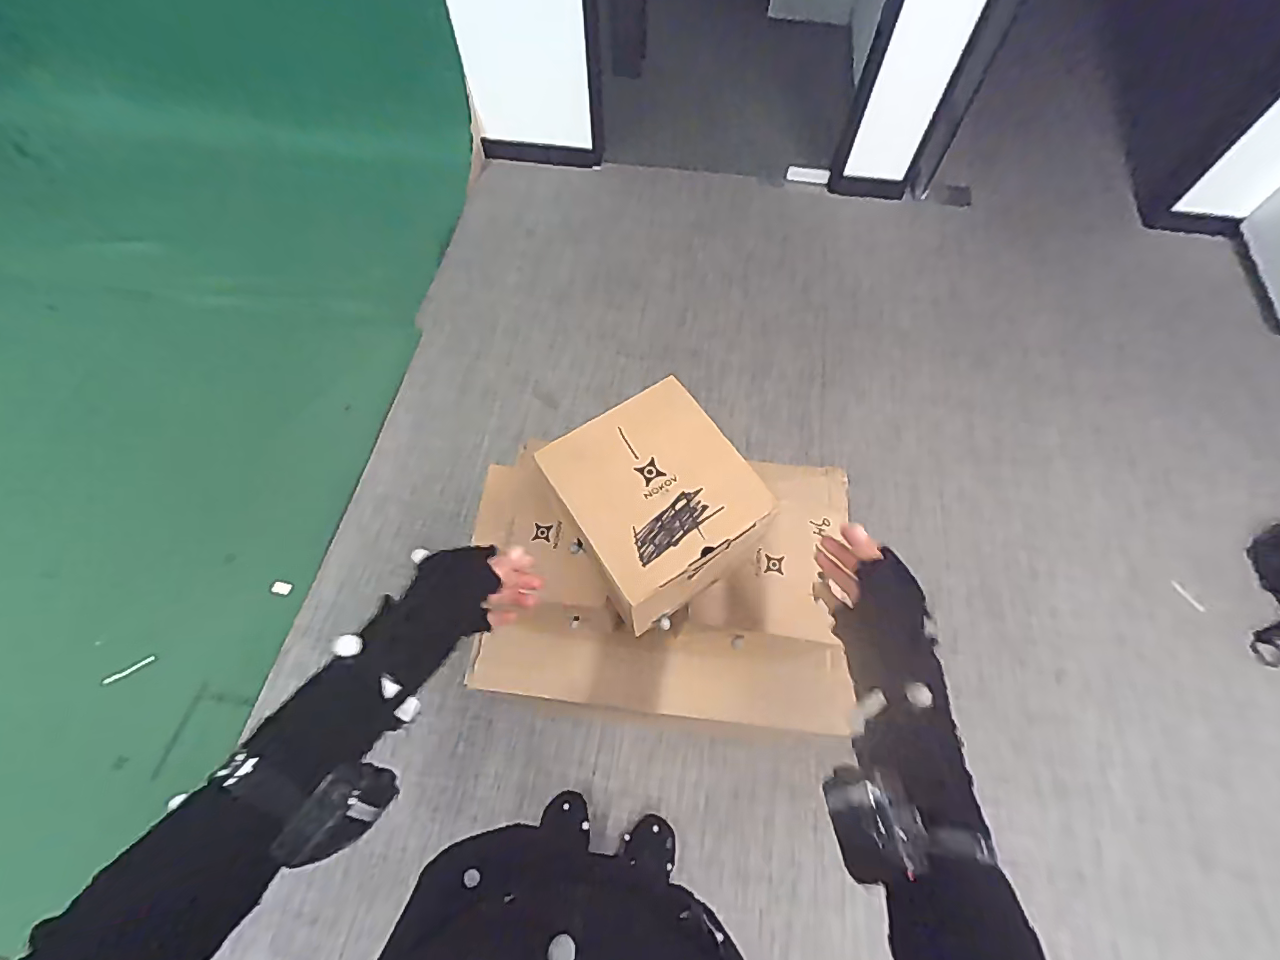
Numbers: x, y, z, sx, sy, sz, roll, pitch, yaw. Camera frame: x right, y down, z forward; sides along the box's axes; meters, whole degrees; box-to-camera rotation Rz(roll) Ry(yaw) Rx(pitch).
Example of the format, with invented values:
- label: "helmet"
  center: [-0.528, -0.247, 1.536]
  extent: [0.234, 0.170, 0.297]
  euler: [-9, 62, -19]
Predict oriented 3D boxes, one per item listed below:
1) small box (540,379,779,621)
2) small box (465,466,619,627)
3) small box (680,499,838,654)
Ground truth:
- label: "small box"
  center: [0.018, 0.033, 0.580]
  extent: [0.168, 0.176, 0.179]
  euler: [-31, 69, -13]
- label: "small box"
  center: [-0.110, 0.098, 0.730]
  extent: [0.179, 0.176, 0.168]
  euler: [5, 65, 3]
- label: "small box"
  center: [0.149, 0.129, 0.718]
  extent: [0.179, 0.176, 0.168]
  euler: [8, 67, 4]
